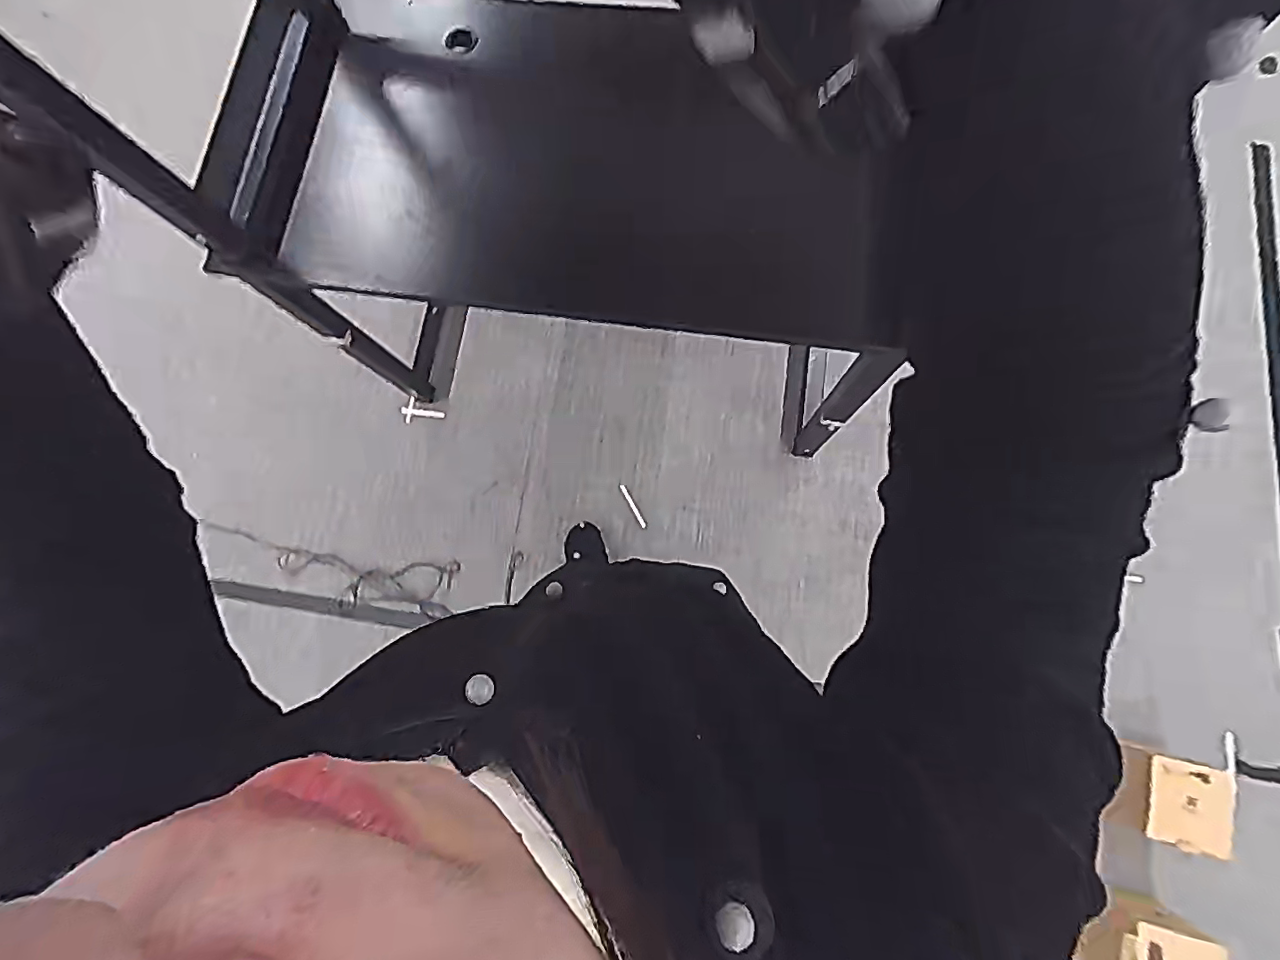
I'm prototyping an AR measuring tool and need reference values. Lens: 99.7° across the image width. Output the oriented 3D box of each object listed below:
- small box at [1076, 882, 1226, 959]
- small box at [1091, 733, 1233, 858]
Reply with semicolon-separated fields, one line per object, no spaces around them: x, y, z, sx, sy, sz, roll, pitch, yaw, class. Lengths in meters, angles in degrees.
1.112;1.032;1.191;0.179;0.176;0.168;14;81;6;small box
1.188;0.713;1.243;0.168;0.176;0.179;13;82;6;small box
